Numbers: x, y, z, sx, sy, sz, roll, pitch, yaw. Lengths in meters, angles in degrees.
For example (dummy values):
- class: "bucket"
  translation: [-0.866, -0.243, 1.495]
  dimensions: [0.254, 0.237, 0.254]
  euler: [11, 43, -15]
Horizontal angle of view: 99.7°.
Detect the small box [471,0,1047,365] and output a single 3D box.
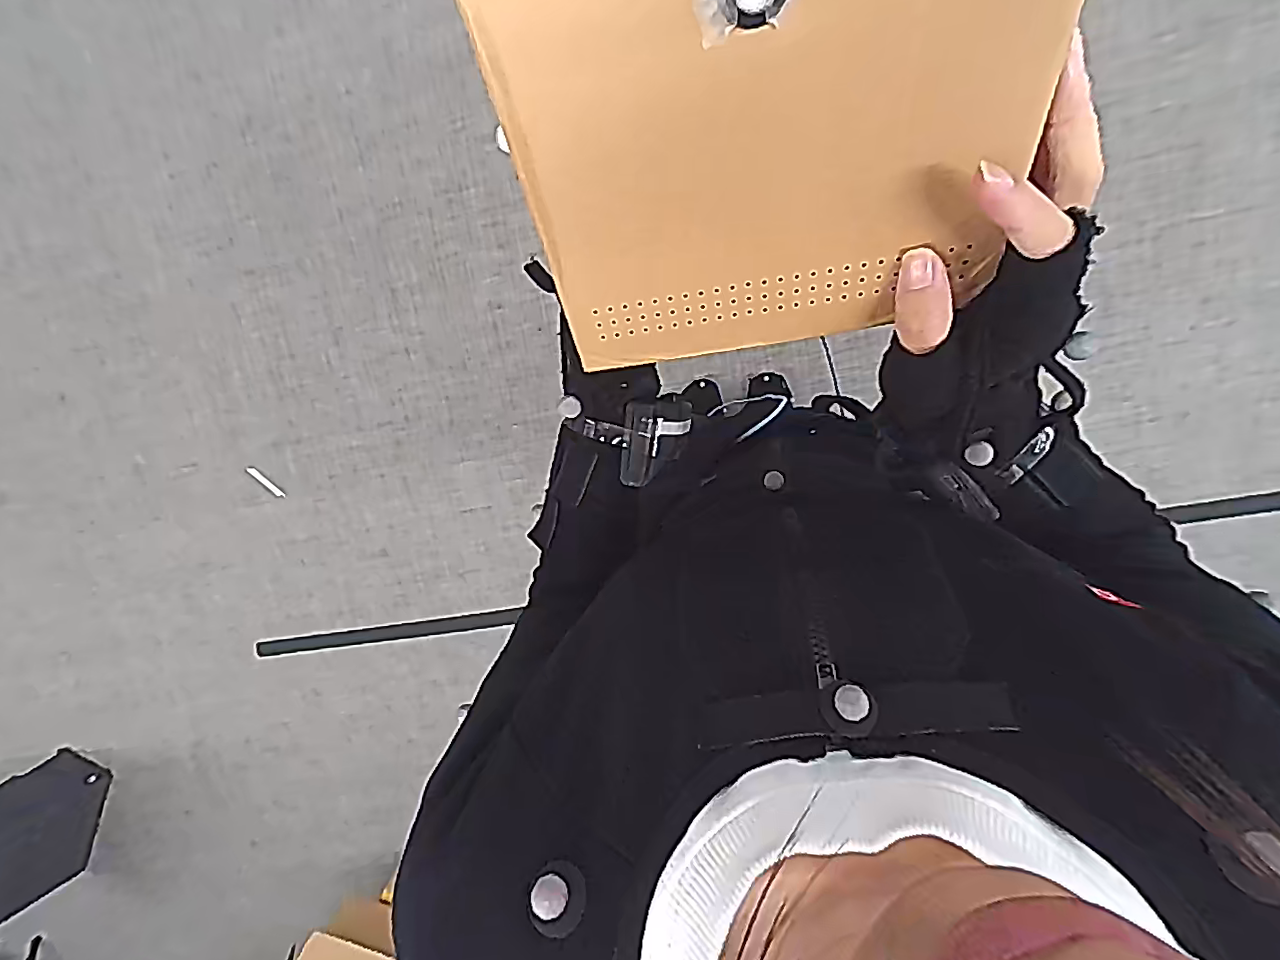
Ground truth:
- class: "small box"
  translation: [0.046, -0.169, 0.237]
  dimensions: [0.179, 0.168, 0.176]
  euler: [-6, 140, 9]
